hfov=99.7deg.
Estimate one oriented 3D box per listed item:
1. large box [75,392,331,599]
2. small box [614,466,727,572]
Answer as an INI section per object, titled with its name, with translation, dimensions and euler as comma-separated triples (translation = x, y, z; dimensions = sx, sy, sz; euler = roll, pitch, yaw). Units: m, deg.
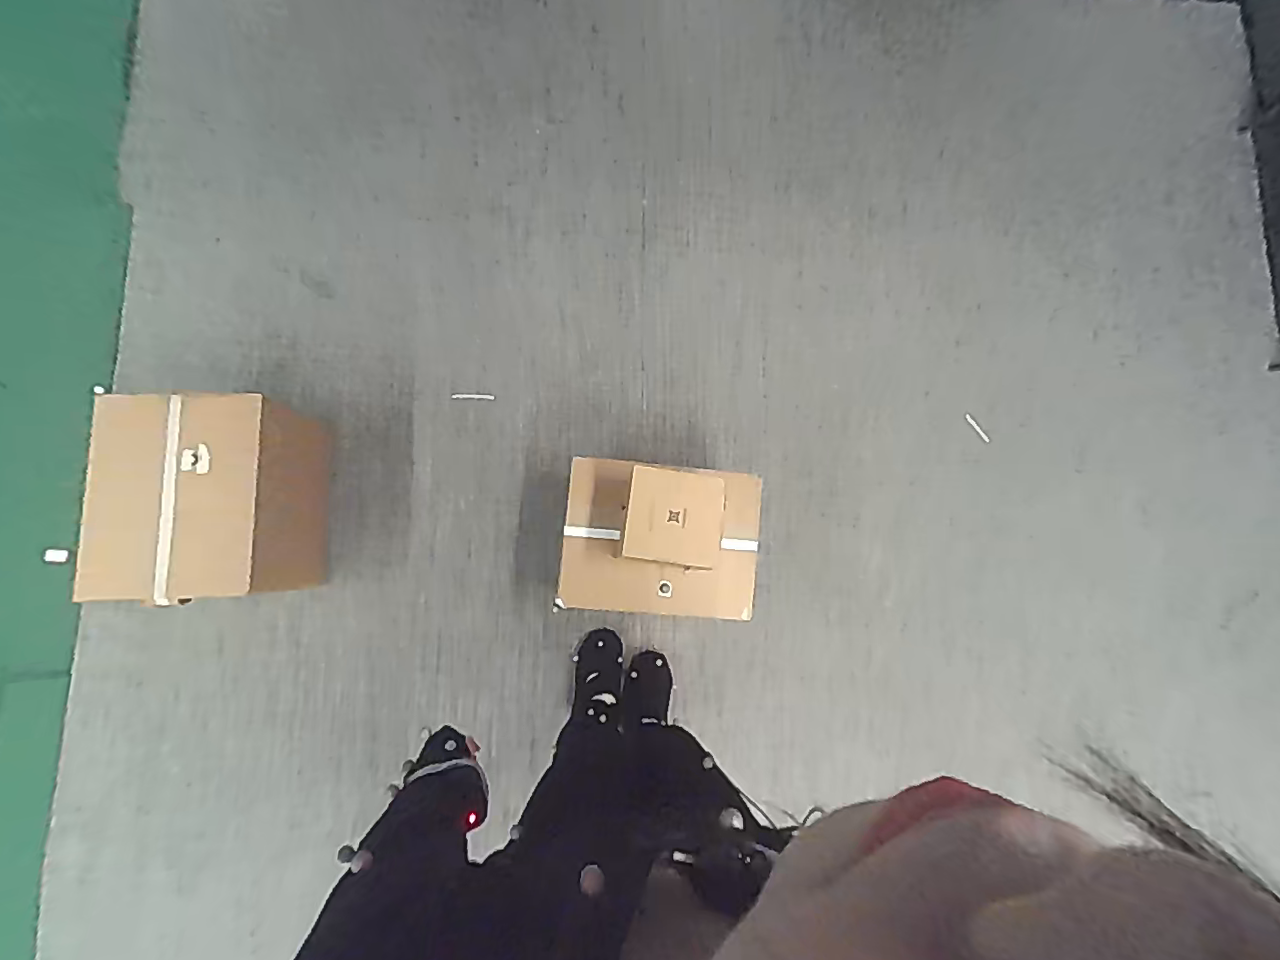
[large box]
translation = -0.918, 0.045, 1.191
dimensions = 0.320, 0.320, 0.408
euler = 0, 82, -5
[small box]
translation = 0.052, 0.080, 1.033
dimensions = 0.179, 0.176, 0.168
euler = 9, 79, -4
